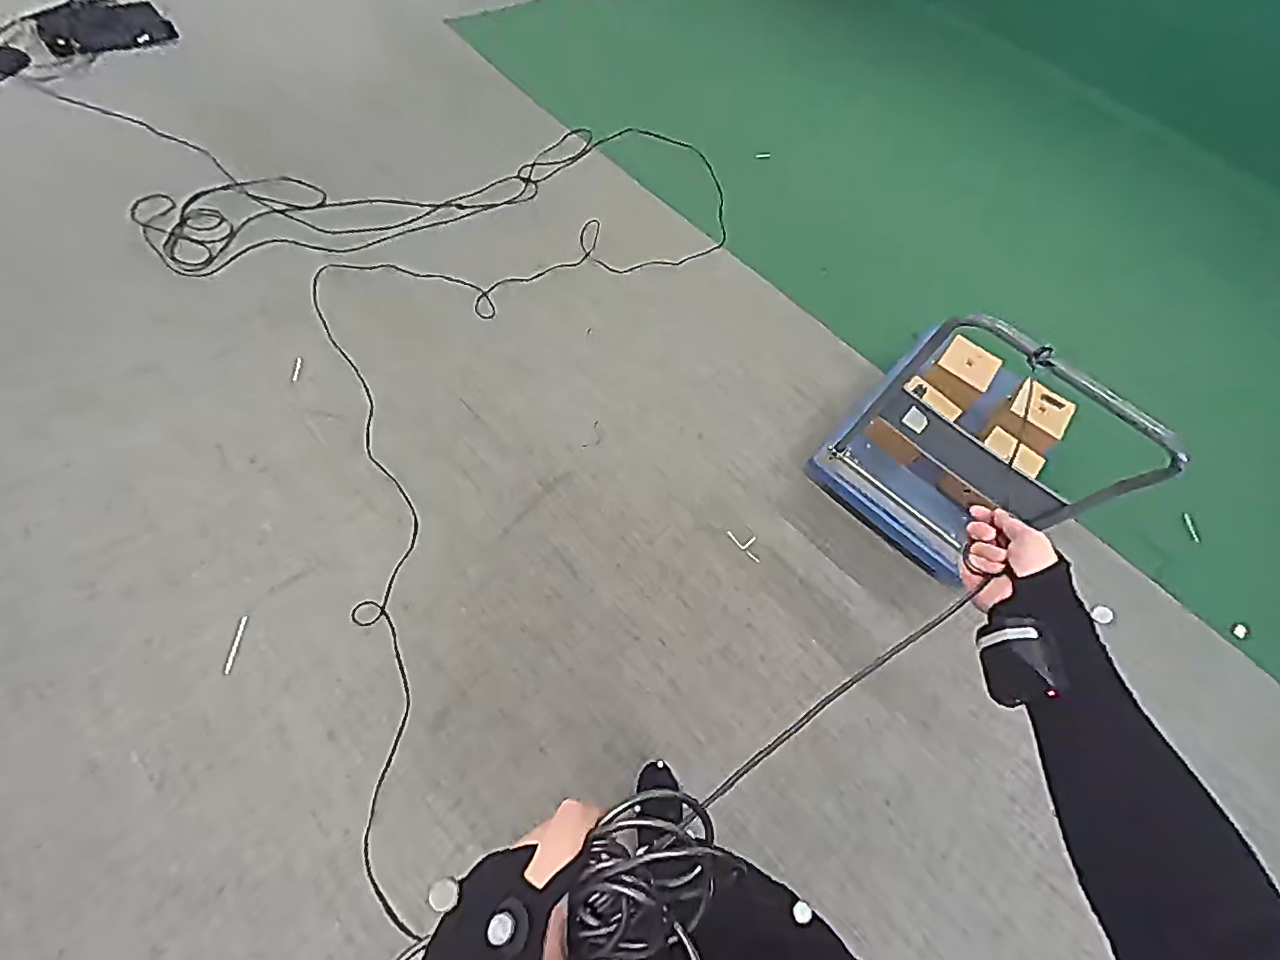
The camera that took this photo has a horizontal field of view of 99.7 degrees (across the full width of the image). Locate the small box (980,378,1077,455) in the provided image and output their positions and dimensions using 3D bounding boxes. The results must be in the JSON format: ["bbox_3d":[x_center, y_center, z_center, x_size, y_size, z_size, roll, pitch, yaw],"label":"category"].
[{"bbox_3d":[1.239,-0.186,1.737,0.168,0.176,0.179,38,65,13],"label":"small box"}]

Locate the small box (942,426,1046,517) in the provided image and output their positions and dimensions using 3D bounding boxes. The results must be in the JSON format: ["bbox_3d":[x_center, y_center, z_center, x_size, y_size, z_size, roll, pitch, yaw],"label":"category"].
[{"bbox_3d":[1.055,-0.022,1.627,0.168,0.176,0.179,43,66,14],"label":"small box"}]

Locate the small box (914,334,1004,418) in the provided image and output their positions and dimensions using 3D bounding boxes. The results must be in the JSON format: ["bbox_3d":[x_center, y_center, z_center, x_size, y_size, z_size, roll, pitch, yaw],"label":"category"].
[{"bbox_3d":[1.046,-0.339,1.789,0.168,0.176,0.179,39,64,11],"label":"small box"}]
